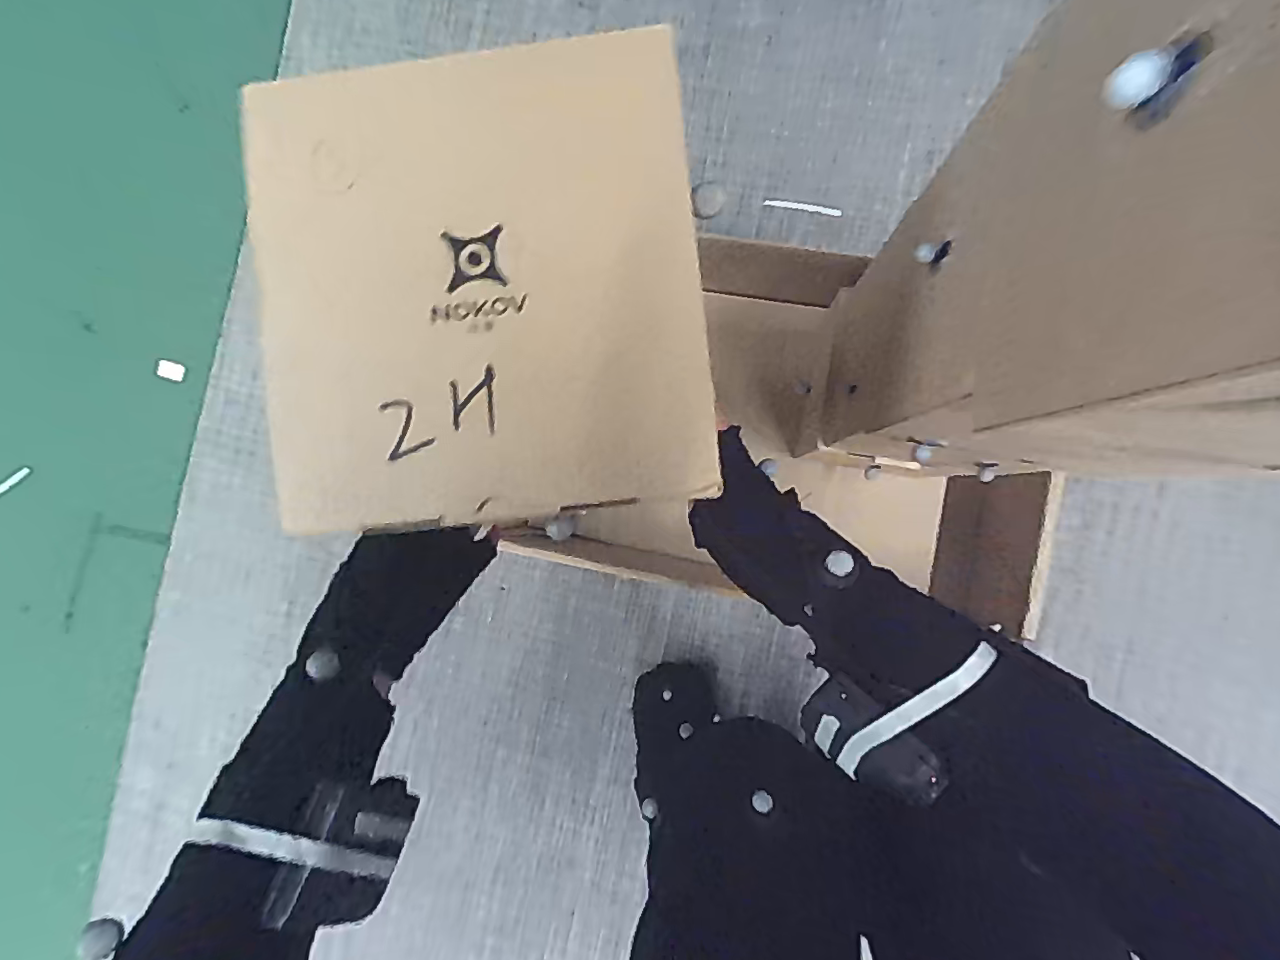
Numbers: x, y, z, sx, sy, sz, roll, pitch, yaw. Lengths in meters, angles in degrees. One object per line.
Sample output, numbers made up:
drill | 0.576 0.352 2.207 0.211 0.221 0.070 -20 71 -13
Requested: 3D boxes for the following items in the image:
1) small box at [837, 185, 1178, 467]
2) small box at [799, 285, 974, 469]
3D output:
small box | 0.275 -0.109 0.452 0.168 0.176 0.179 11 91 8
small box | 0.286 -0.109 0.634 0.168 0.176 0.179 7 90 10
